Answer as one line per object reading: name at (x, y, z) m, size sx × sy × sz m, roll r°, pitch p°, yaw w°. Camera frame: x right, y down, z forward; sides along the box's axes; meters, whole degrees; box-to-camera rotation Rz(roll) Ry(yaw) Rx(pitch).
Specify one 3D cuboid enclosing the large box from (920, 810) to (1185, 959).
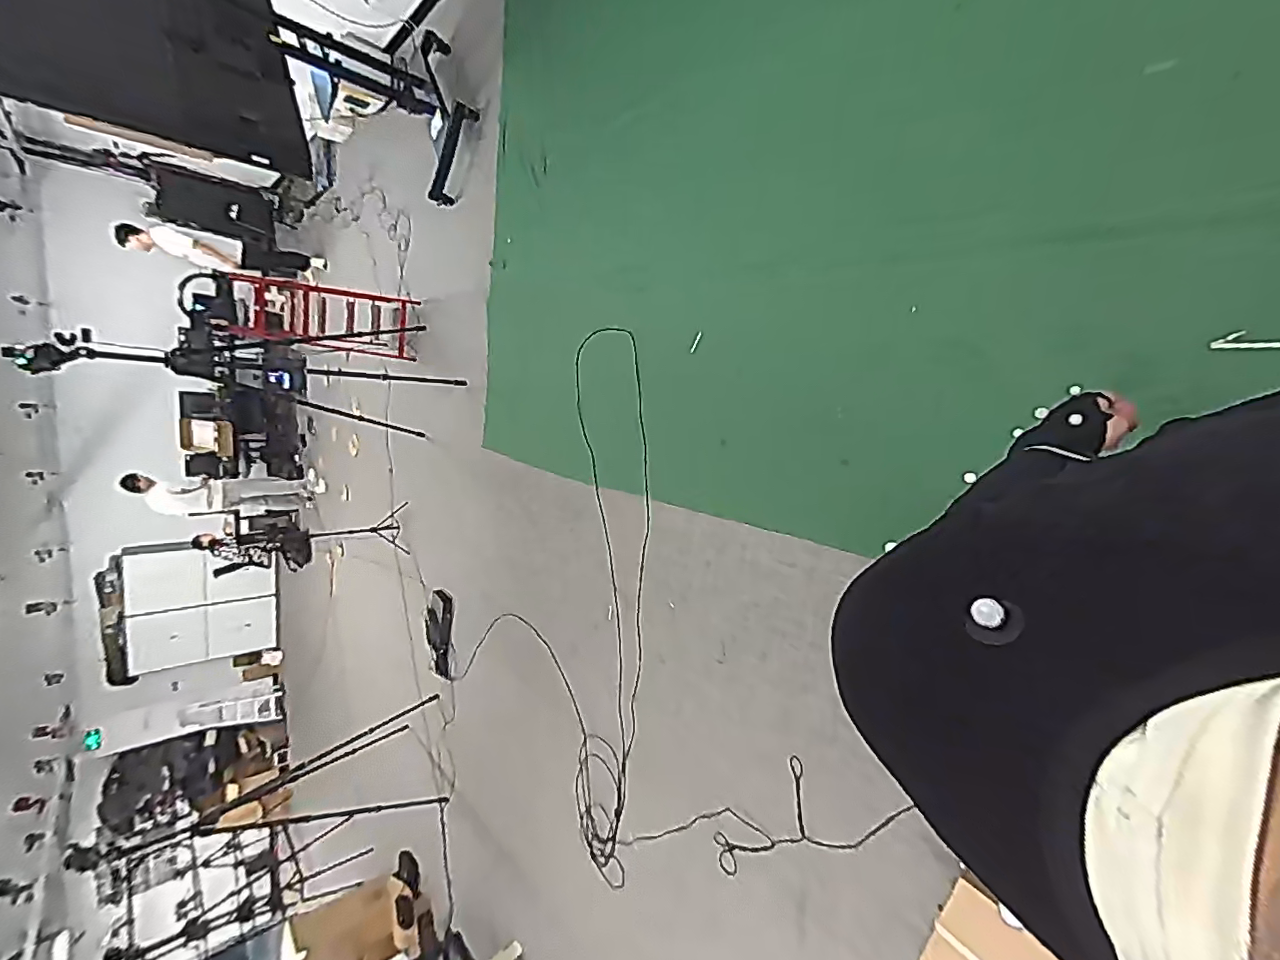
large box at (0.966, 1.108, 1.289) m, size 0.408 × 0.320 × 0.320 m, roll 27°, pitch 112°, yaw 42°
